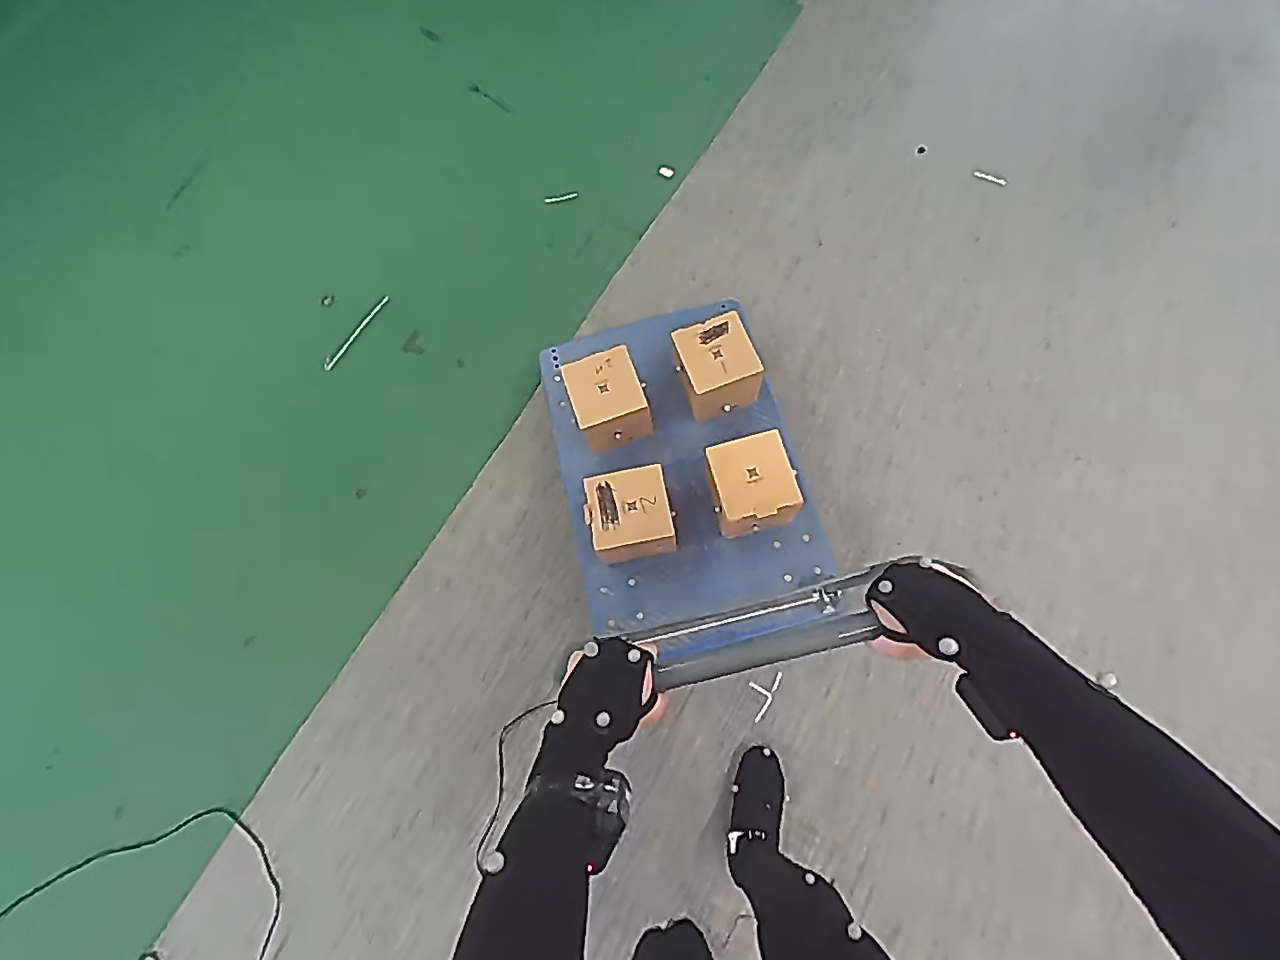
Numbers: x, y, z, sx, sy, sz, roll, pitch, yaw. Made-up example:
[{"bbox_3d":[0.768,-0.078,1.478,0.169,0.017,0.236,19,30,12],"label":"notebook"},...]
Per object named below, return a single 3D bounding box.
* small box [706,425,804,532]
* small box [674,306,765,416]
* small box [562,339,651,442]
[{"bbox_3d":[0.250,0.002,1.228,0.168,0.176,0.179,-15,72,1],"label":"small box"},{"bbox_3d":[0.187,-0.285,1.320,0.168,0.176,0.179,-20,73,-1],"label":"small box"},{"bbox_3d":[-0.075,-0.207,1.318,0.168,0.176,0.179,-18,72,-2],"label":"small box"}]
